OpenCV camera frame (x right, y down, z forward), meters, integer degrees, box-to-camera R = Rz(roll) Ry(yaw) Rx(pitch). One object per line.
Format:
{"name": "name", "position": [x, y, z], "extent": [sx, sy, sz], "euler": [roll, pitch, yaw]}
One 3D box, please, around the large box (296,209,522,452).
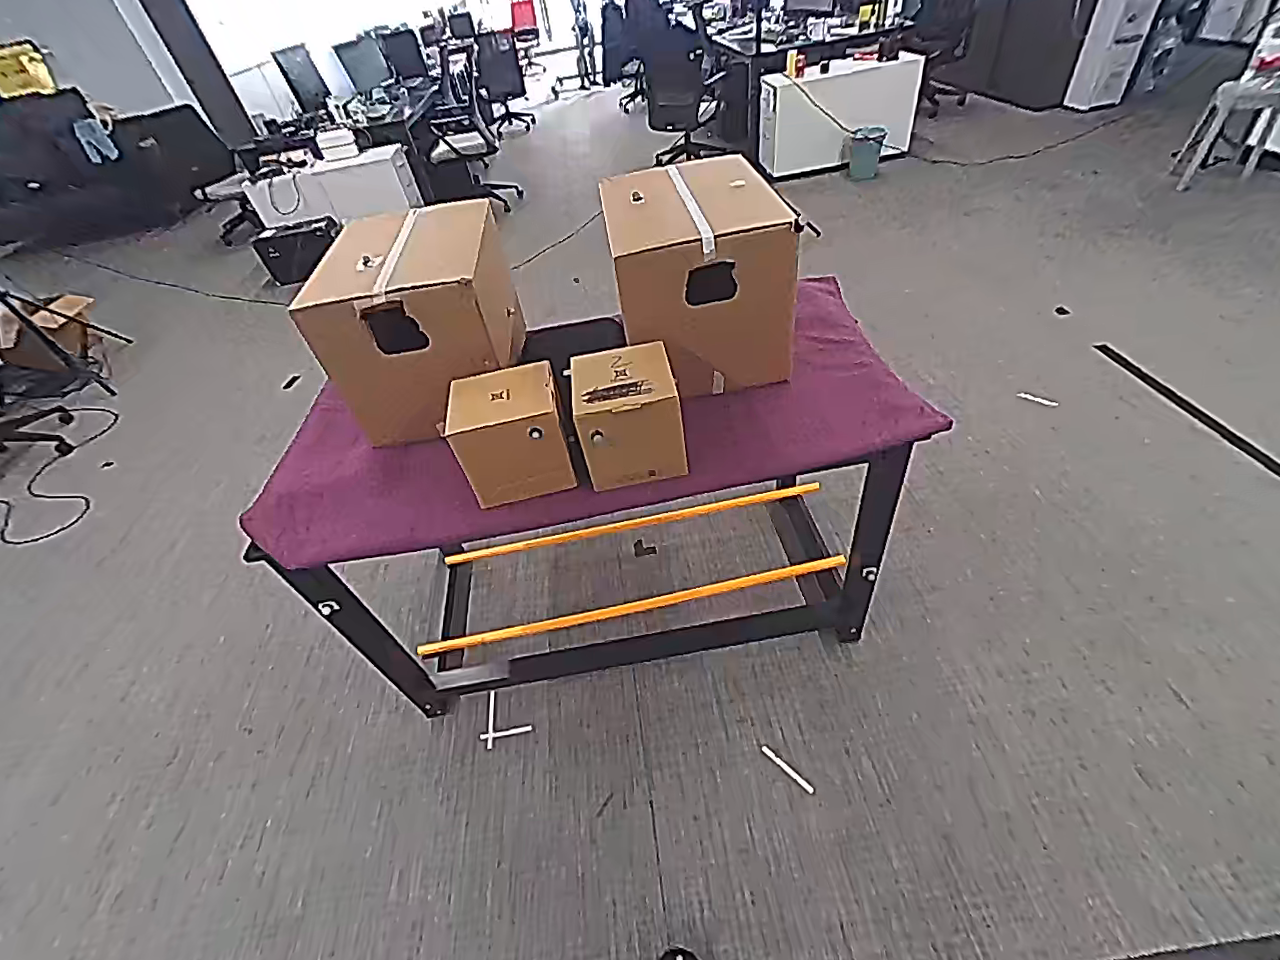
{"name": "large box", "position": [-0.439, -0.321, 1.143], "extent": [0.320, 0.320, 0.408], "euler": [-11, 47, 0]}
